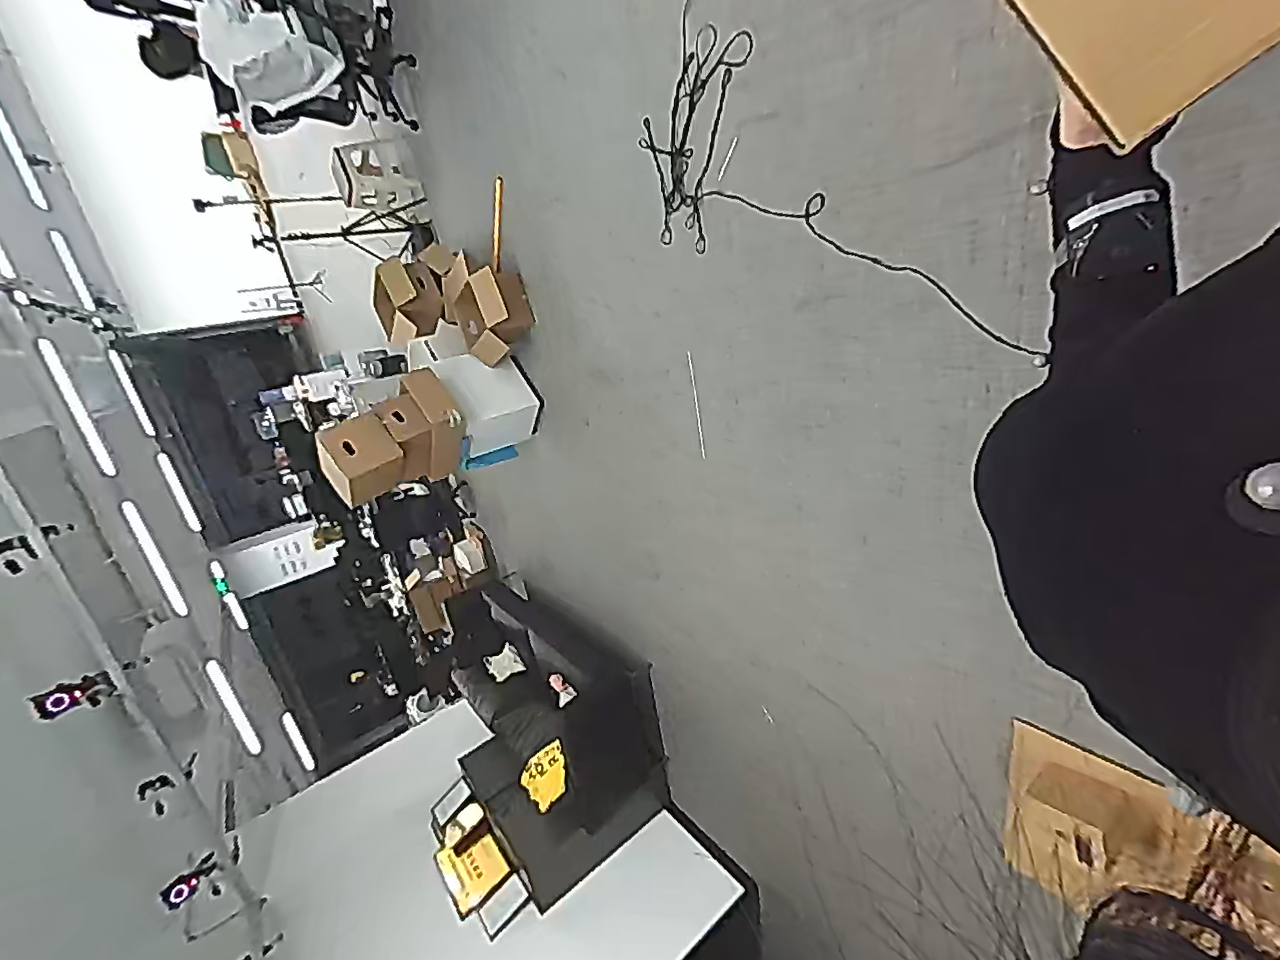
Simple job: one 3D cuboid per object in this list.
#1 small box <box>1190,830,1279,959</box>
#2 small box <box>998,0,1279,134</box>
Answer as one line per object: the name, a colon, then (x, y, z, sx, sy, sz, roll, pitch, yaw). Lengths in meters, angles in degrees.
small box: (1.407, 0.953, 1.229, 0.168, 0.176, 0.179, 24, 128, 49)
small box: (0.277, -0.326, 0.261, 0.179, 0.168, 0.176, 43, 145, -10)
